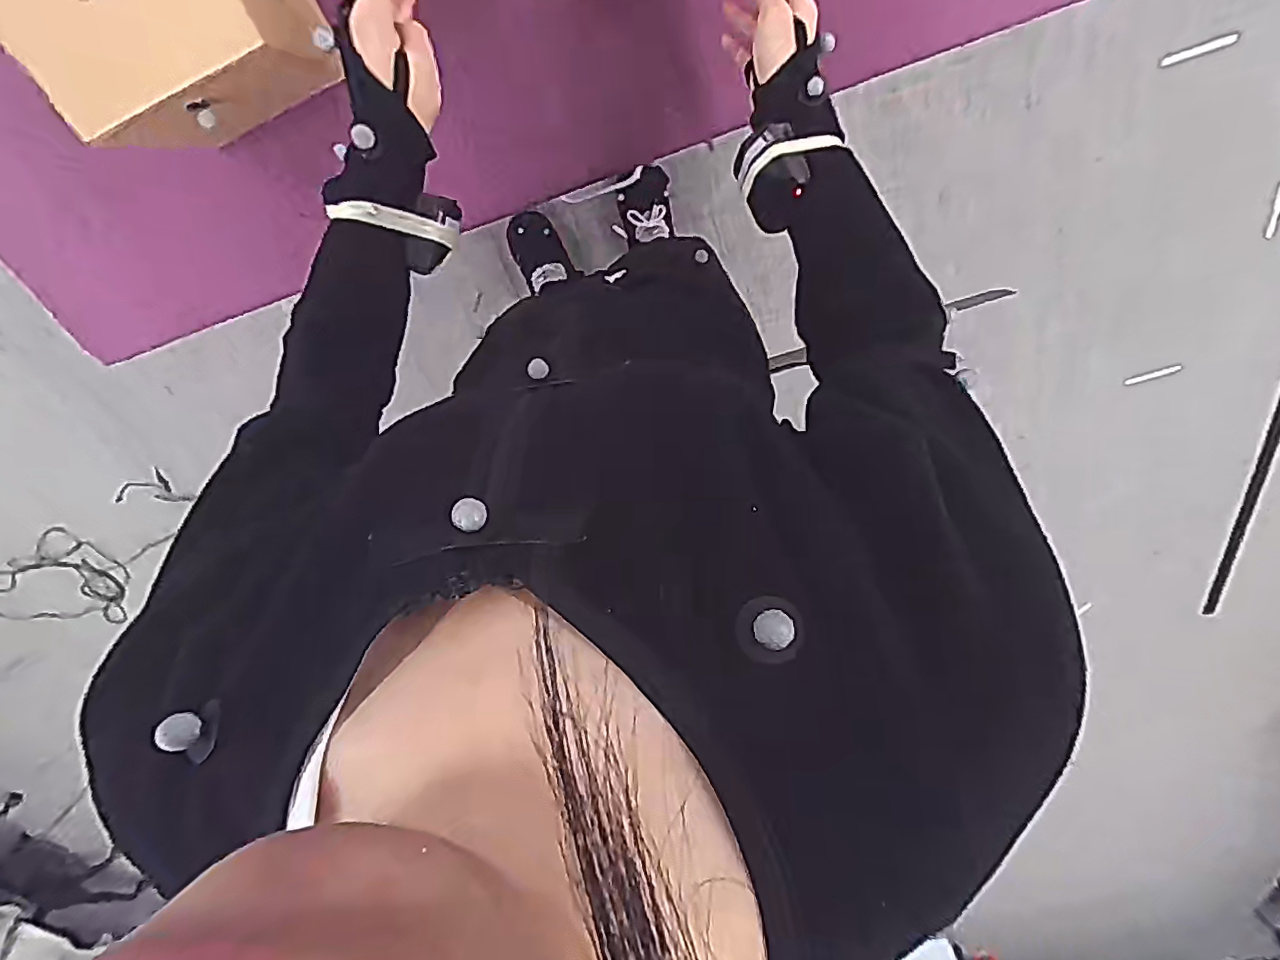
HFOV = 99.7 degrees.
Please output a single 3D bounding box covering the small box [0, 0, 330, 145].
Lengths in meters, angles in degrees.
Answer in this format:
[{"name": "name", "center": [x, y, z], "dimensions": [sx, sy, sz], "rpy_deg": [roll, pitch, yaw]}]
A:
[{"name": "small box", "center": [-0.390, -0.399, 0.439], "dimensions": [0.179, 0.176, 0.168], "rpy_deg": [-20, 121, 9]}]
